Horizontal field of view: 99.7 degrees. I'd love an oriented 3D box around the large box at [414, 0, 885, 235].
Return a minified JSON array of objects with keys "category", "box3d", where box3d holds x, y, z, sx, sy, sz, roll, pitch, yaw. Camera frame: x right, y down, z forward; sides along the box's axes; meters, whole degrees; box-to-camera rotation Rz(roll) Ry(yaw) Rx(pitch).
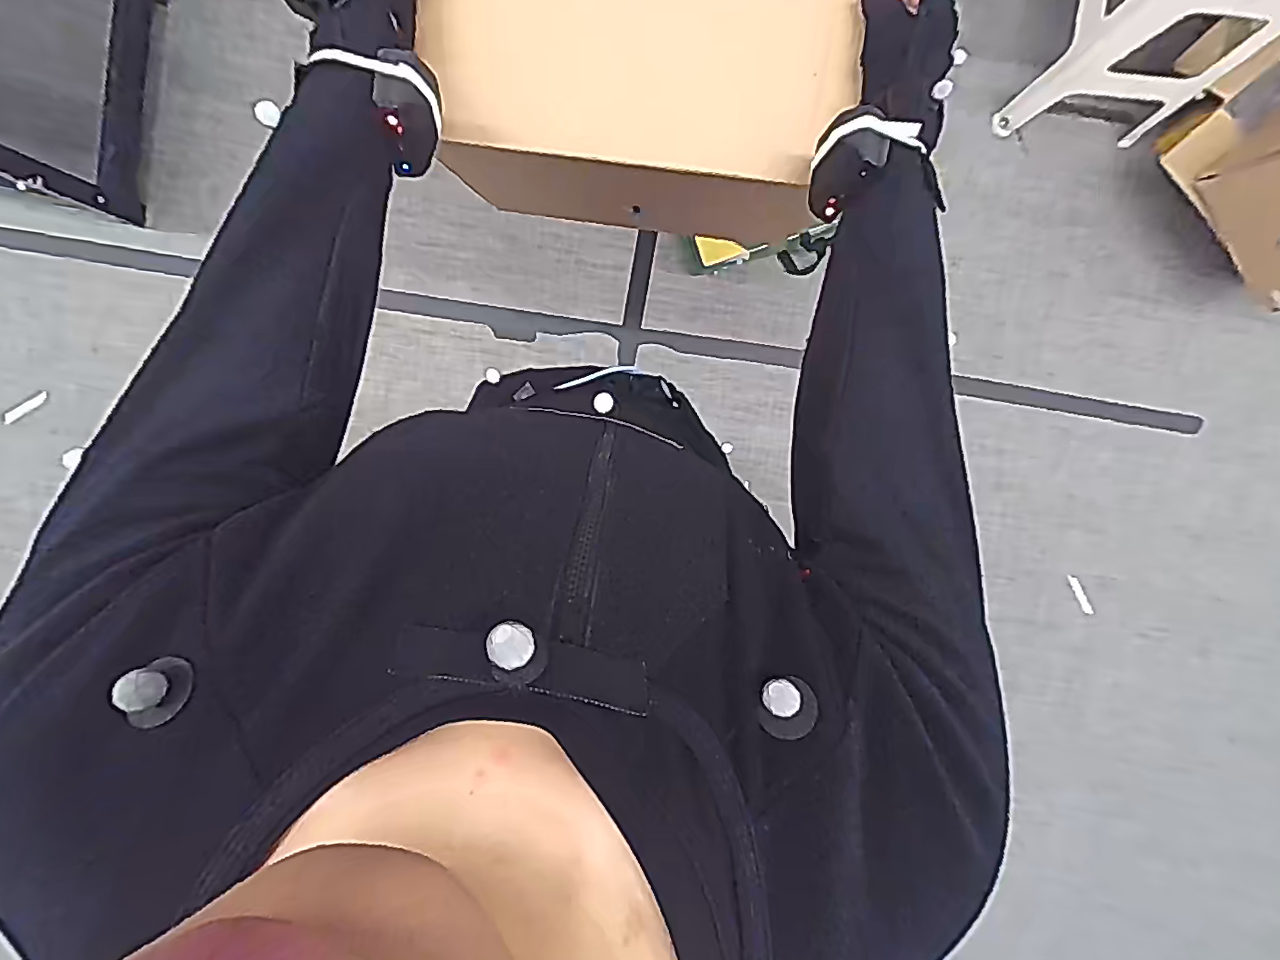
[{"category":"large box","box3d":[0.014,-0.472,0.591,0.408,0.320,0.320,6,105,-1]}]
